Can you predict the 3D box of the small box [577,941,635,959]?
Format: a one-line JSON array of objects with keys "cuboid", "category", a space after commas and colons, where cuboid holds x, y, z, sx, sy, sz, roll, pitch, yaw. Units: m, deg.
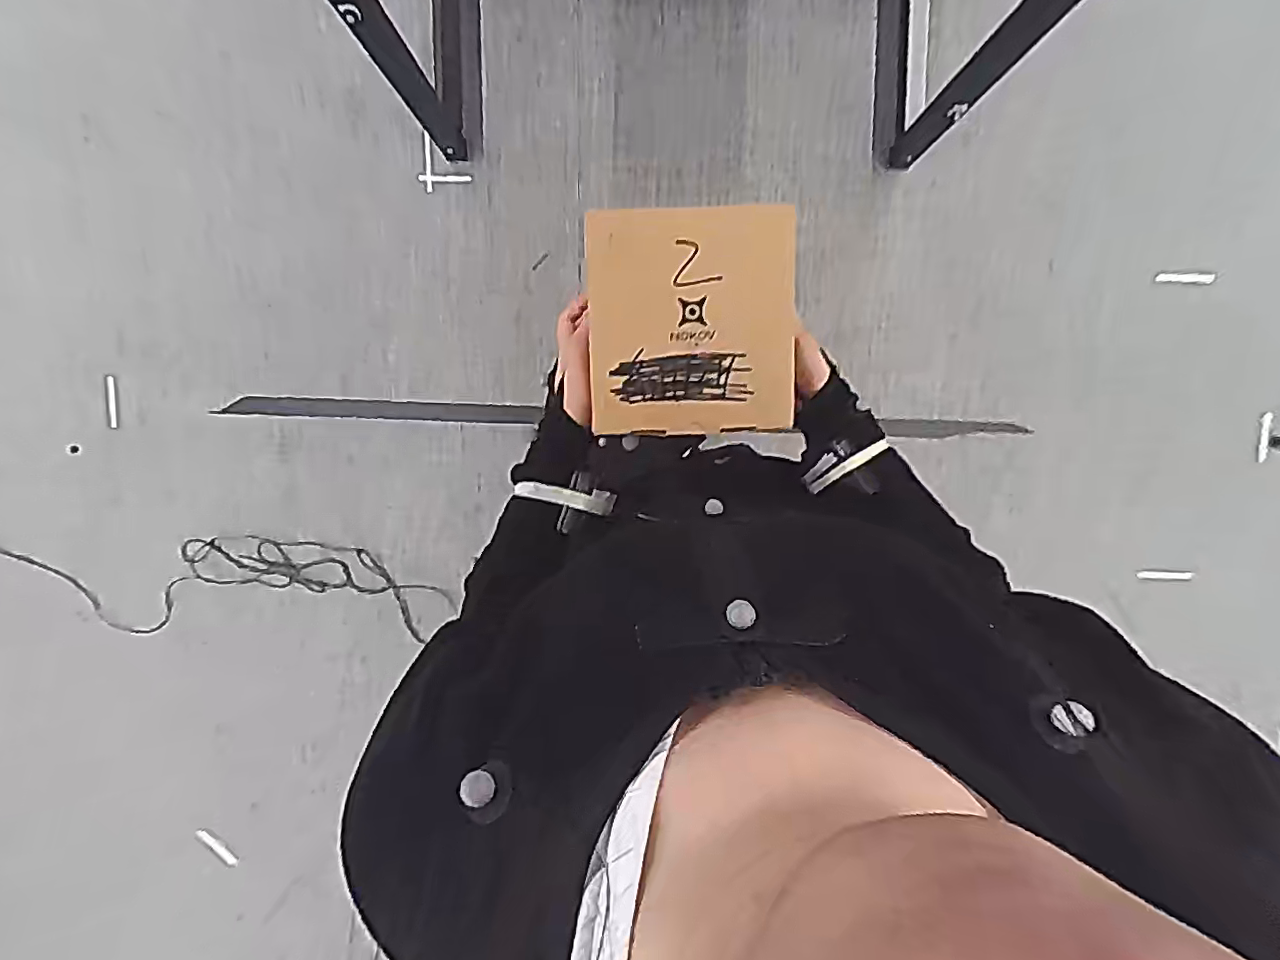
[{"cuboid": [-0.111, 1.495, 1.574, 0.179, 0.176, 0.168, 8, 96, -2], "category": "small box"}]
